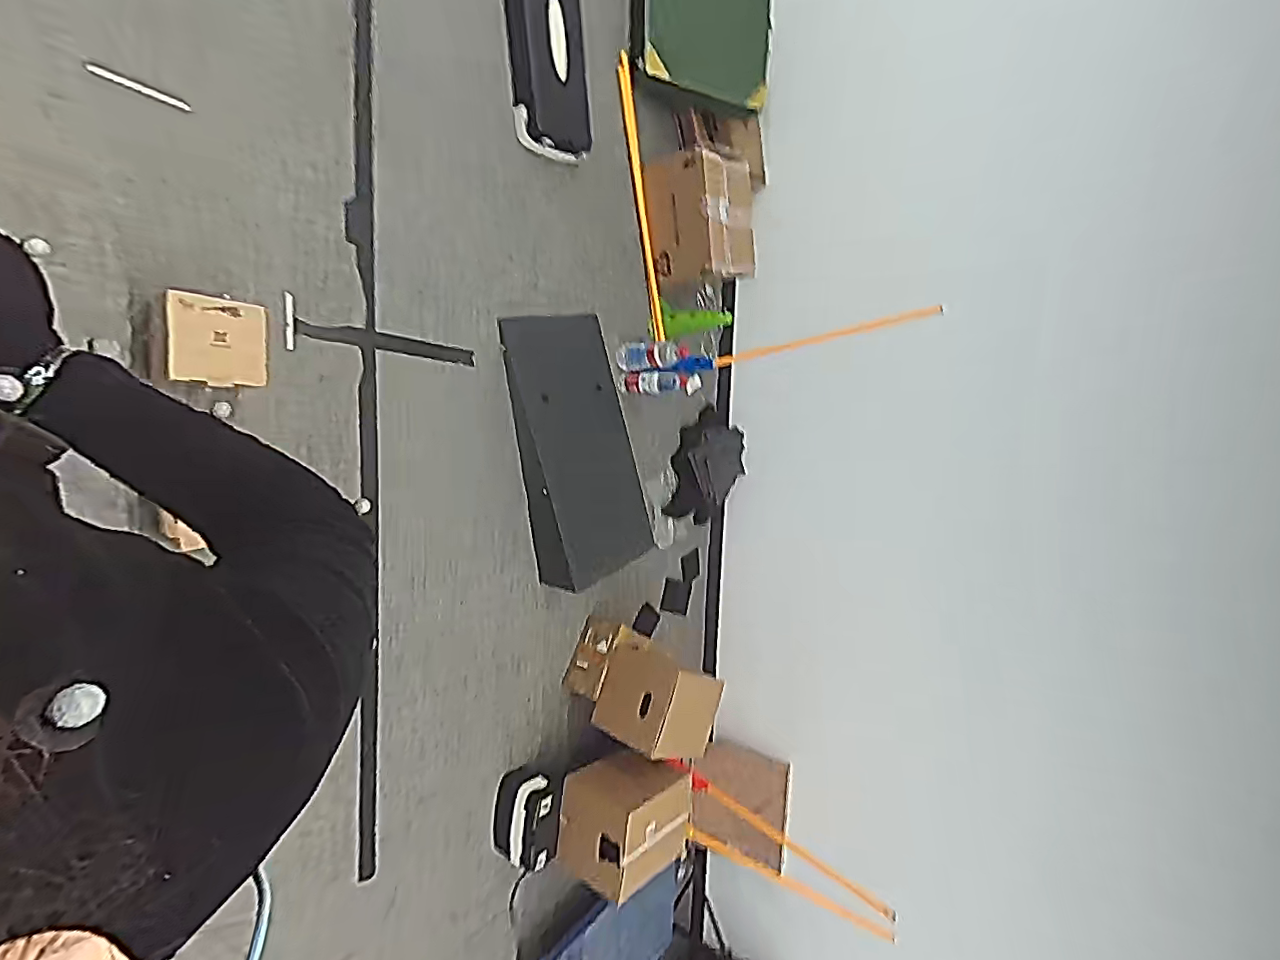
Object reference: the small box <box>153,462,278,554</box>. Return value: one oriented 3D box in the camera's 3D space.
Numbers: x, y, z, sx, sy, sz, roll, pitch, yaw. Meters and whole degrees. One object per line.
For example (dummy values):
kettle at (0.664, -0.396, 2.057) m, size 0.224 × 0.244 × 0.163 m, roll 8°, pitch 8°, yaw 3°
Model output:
small box at (-0.928, 0.053, 1.180) m, size 0.179 × 0.176 × 0.168 m, roll -13°, pitch 106°, yaw -51°

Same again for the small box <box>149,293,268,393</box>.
small box at (-0.915, -0.281, 1.148) m, size 0.168 × 0.176 × 0.179 m, roll -2°, pitch 97°, yaw -52°
